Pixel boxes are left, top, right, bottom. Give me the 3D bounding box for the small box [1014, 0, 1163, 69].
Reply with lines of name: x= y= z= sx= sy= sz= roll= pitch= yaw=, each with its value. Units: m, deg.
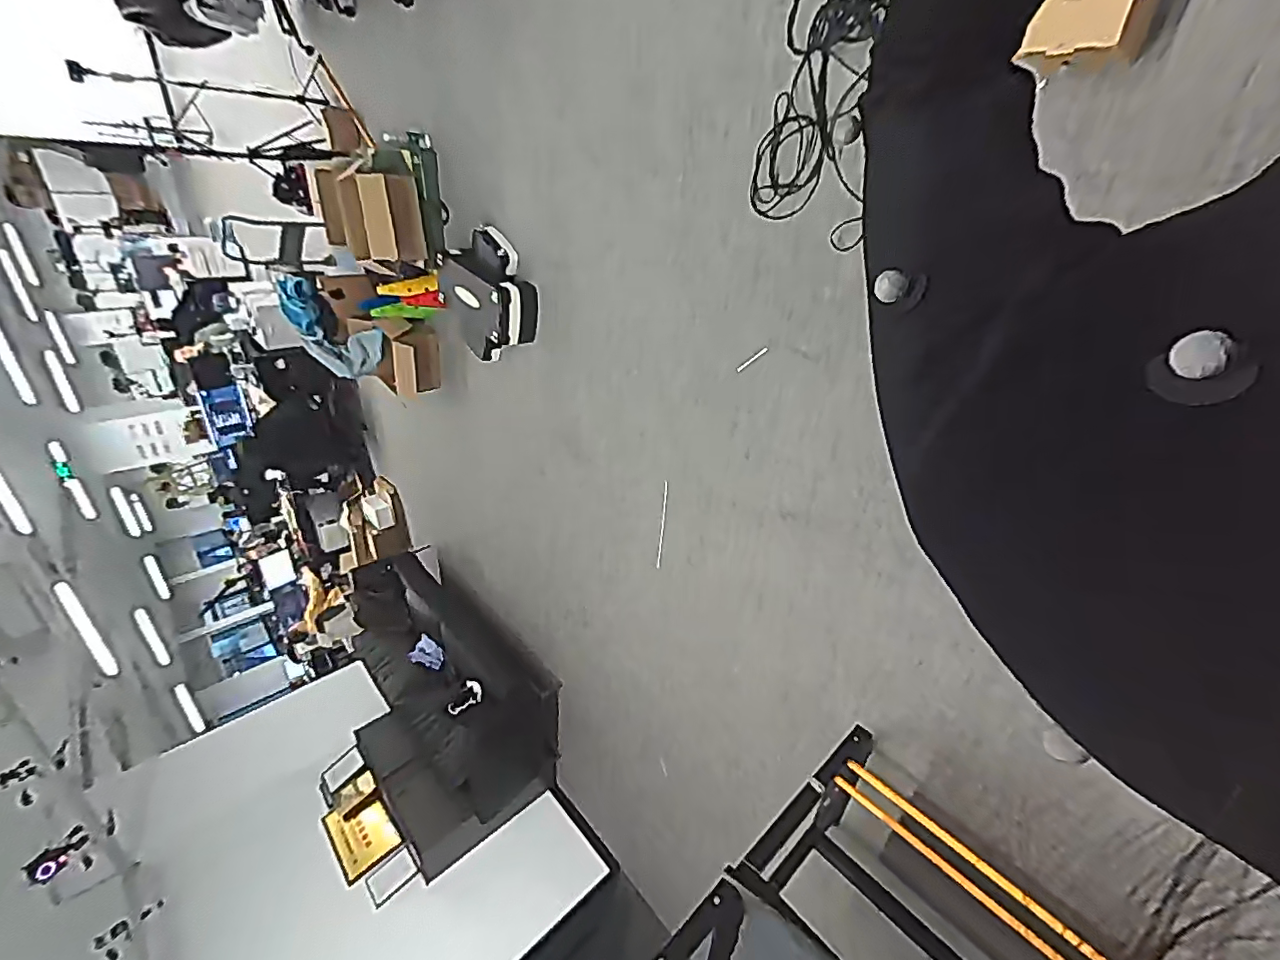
small box: x=0.808 y=-0.854 z=0.955 sx=0.168 sy=0.176 sz=0.179 roll=31 pitch=129 yaw=39
